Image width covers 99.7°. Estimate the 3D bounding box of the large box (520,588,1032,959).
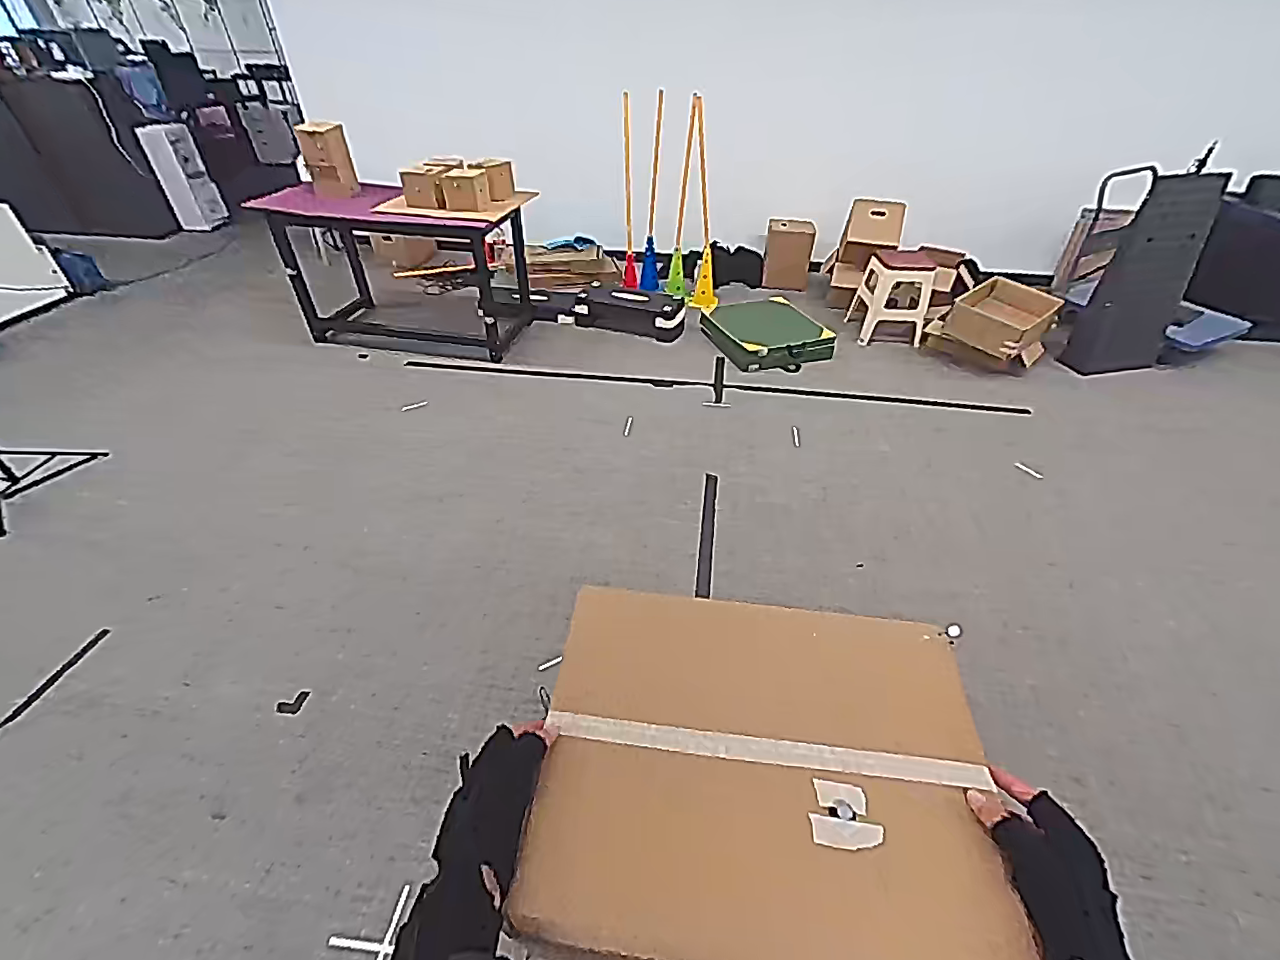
[{"bbox_3d":[0.114,0.355,0.623,0.408,0.320,0.320,6,47,5],"label":"large box"}]
